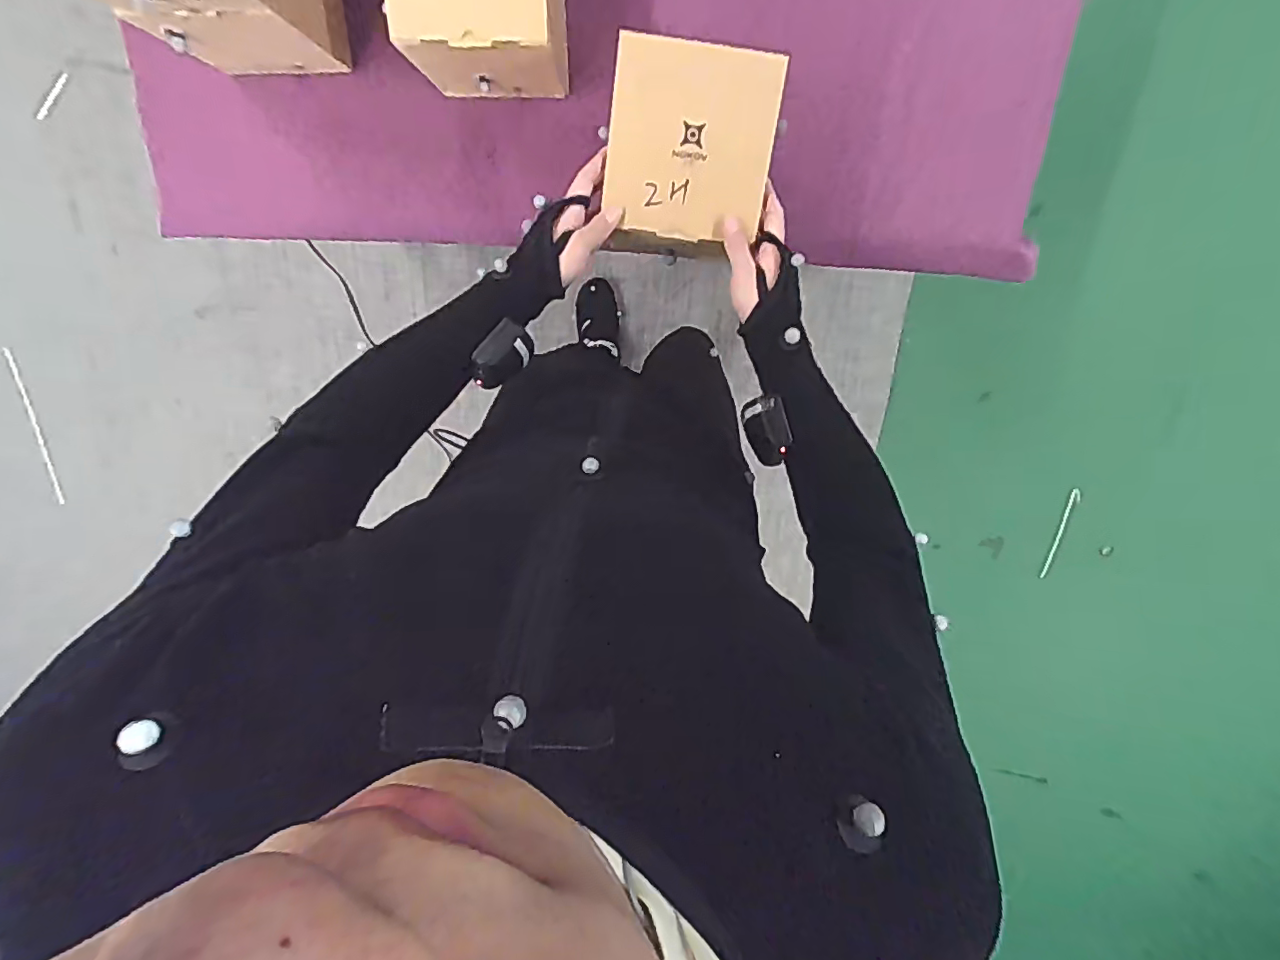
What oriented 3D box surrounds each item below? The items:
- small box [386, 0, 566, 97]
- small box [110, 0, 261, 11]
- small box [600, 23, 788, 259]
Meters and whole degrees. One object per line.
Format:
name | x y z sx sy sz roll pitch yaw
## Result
small box | -0.176 -0.560 0.606 0.168 0.176 0.179 0 111 -1
small box | -0.452 -0.527 0.436 0.168 0.176 0.179 0 110 -1
small box | 0.051 -0.364 0.617 0.168 0.176 0.179 8 107 -2
